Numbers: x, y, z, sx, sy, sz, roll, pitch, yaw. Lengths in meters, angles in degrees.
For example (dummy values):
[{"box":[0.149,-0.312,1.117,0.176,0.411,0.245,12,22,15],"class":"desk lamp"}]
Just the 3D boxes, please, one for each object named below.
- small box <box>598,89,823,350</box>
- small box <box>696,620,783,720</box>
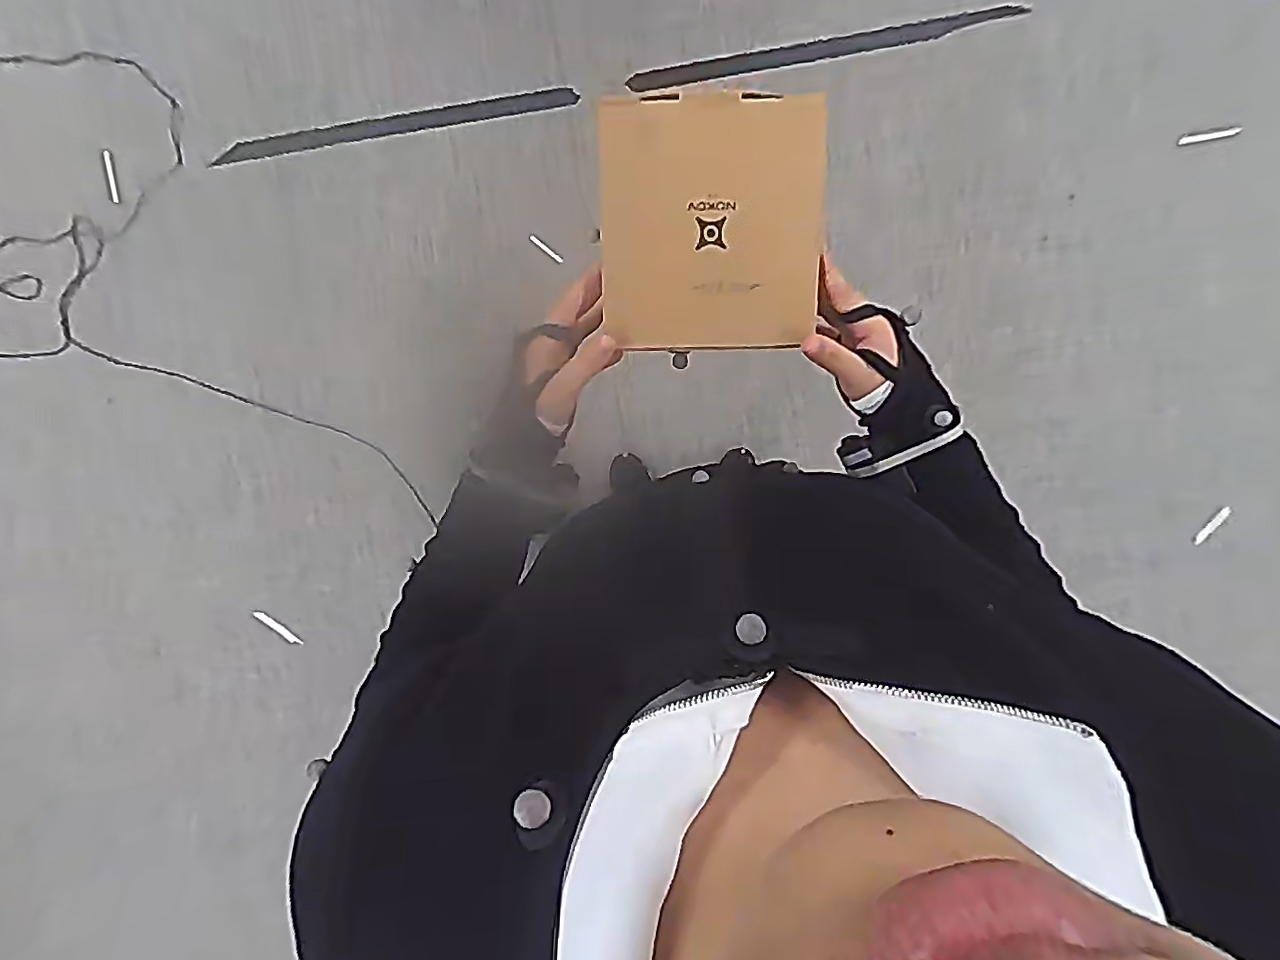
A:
[{"box":[0.048,-0.207,0.478,0.168,0.176,0.179,-1,103,0],"class":"small box"},{"box":[0.238,0.457,1.334,0.168,0.176,0.179,-12,93,3],"class":"small box"}]
